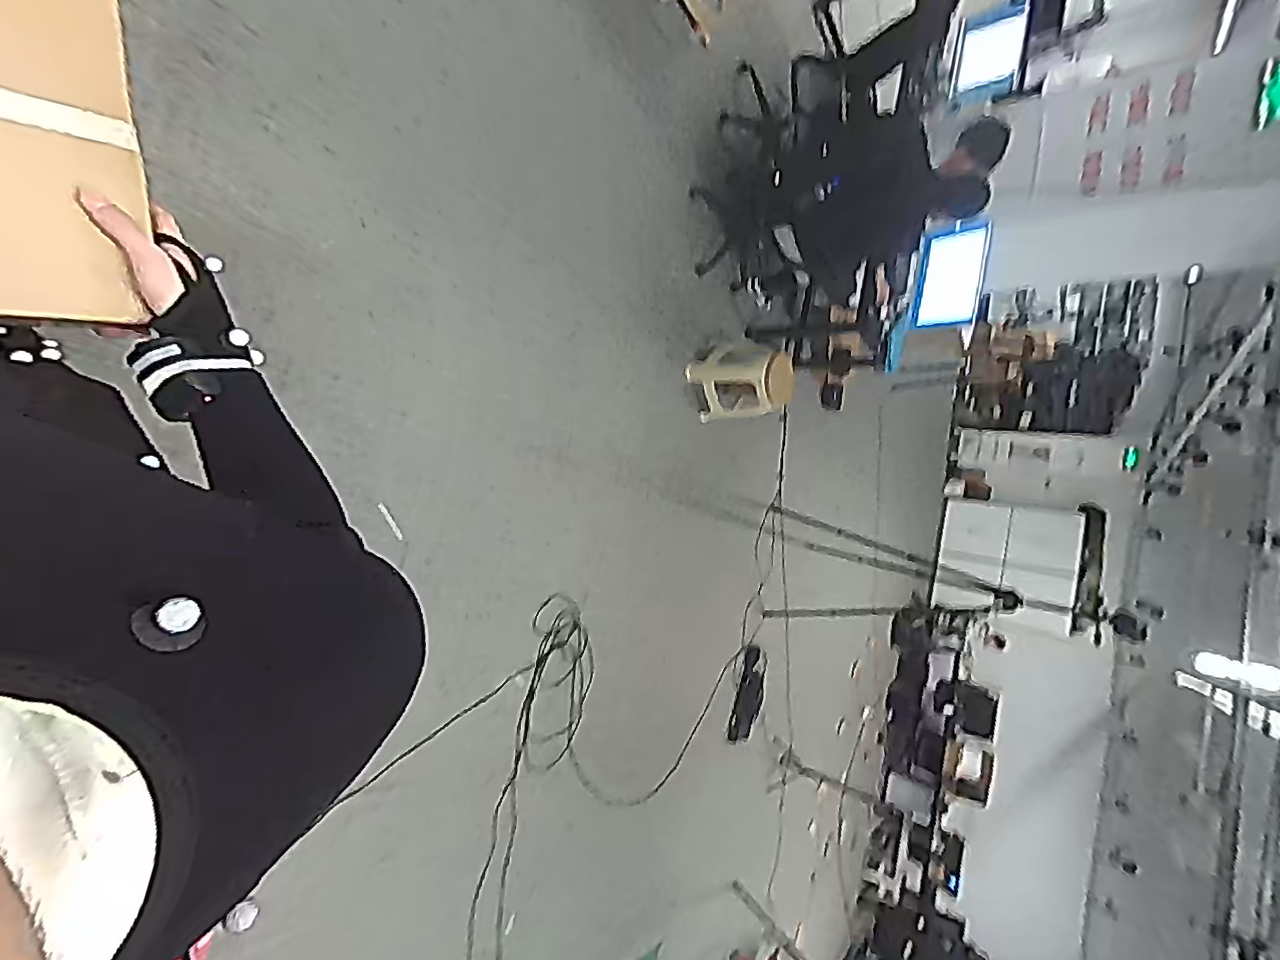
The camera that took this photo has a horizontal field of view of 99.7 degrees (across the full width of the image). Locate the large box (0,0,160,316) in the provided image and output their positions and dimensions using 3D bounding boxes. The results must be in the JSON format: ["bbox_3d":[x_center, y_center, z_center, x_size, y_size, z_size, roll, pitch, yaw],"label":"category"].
[{"bbox_3d":[-0.693,-0.299,0.415,0.408,0.320,0.320,-15,112,-51],"label":"large box"}]
